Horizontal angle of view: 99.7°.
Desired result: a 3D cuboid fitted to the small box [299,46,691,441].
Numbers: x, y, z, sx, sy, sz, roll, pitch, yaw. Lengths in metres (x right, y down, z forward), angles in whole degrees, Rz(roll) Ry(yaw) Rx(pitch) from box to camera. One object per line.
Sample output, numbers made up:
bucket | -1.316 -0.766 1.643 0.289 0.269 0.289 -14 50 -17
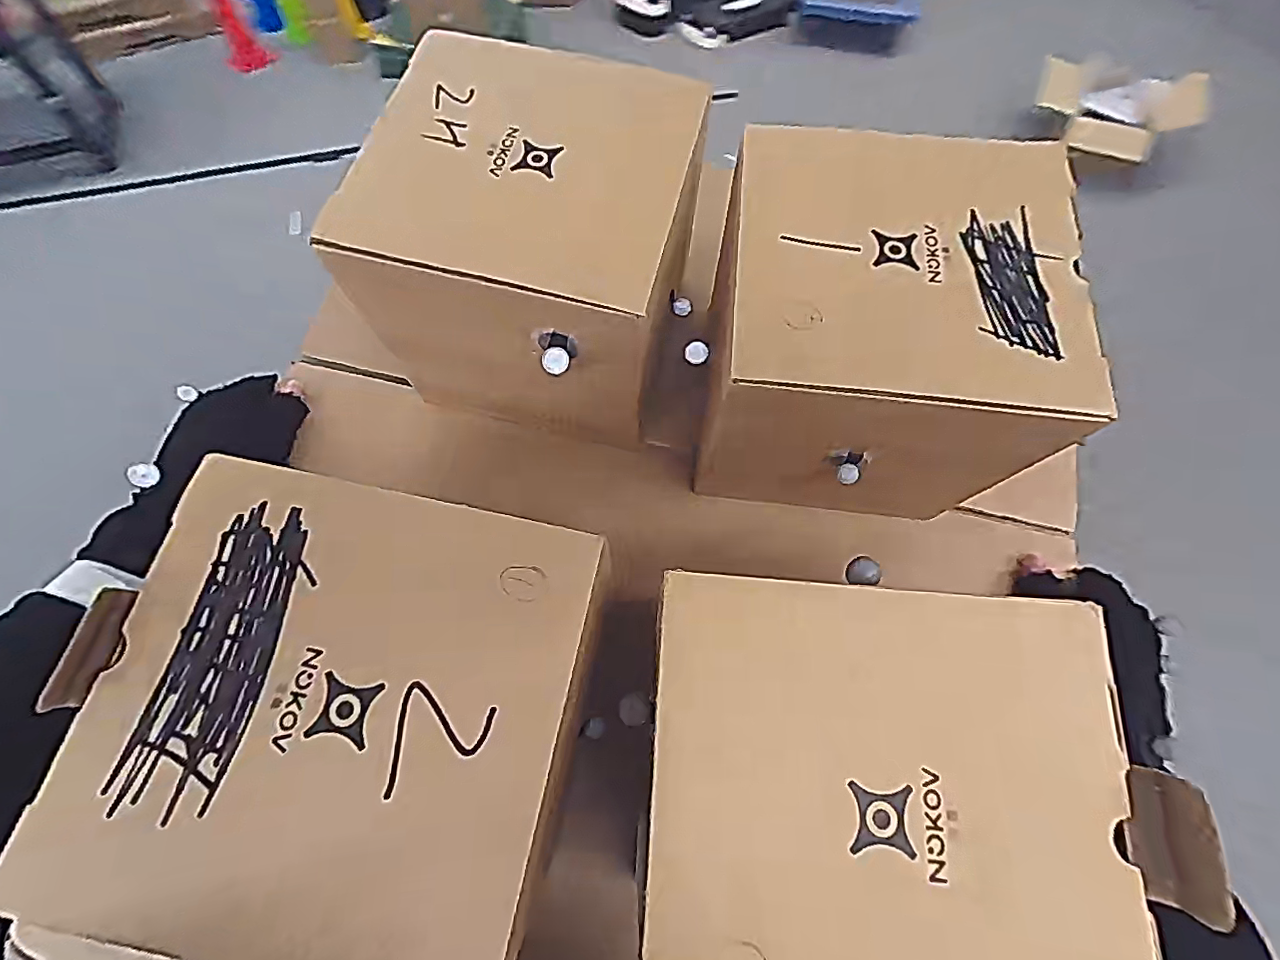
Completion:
small box | -0.075 -0.142 0.374 0.179 0.176 0.168 14 70 4
